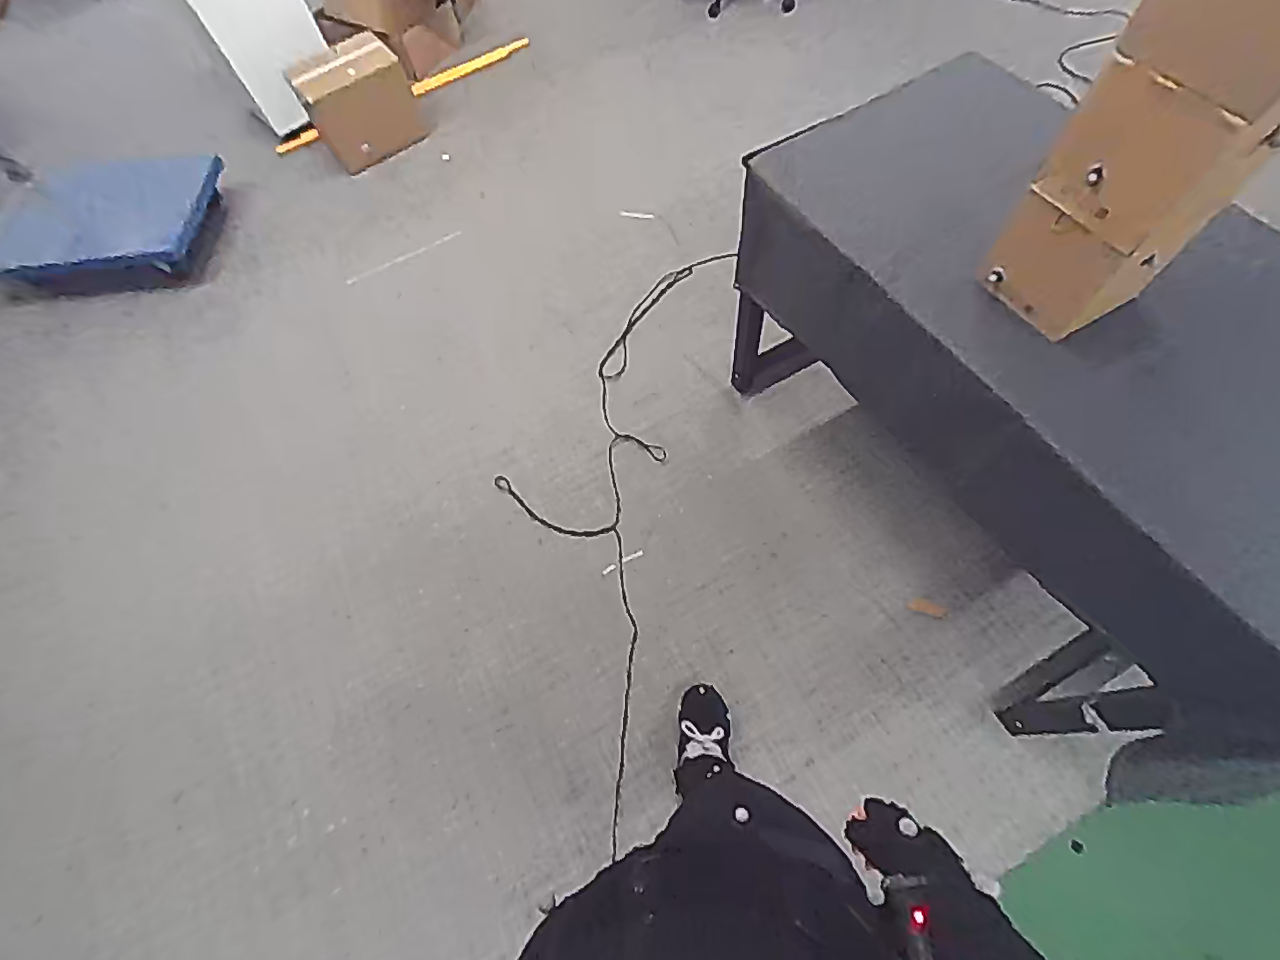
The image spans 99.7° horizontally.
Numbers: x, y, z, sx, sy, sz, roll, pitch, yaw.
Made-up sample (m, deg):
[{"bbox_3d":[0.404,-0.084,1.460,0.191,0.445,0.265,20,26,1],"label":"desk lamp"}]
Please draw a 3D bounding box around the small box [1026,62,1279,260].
[{"bbox_3d":[0.638,-0.413,0.668,0.179,0.176,0.168,-28,64,-9],"label":"small box"}]

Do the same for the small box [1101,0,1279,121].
[{"bbox_3d":[0.623,-0.484,0.520,0.168,0.176,0.179,-27,64,-8],"label":"small box"}]

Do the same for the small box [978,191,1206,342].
[{"bbox_3d":[0.652,-0.341,0.813,0.179,0.176,0.168,-28,64,-10],"label":"small box"}]
